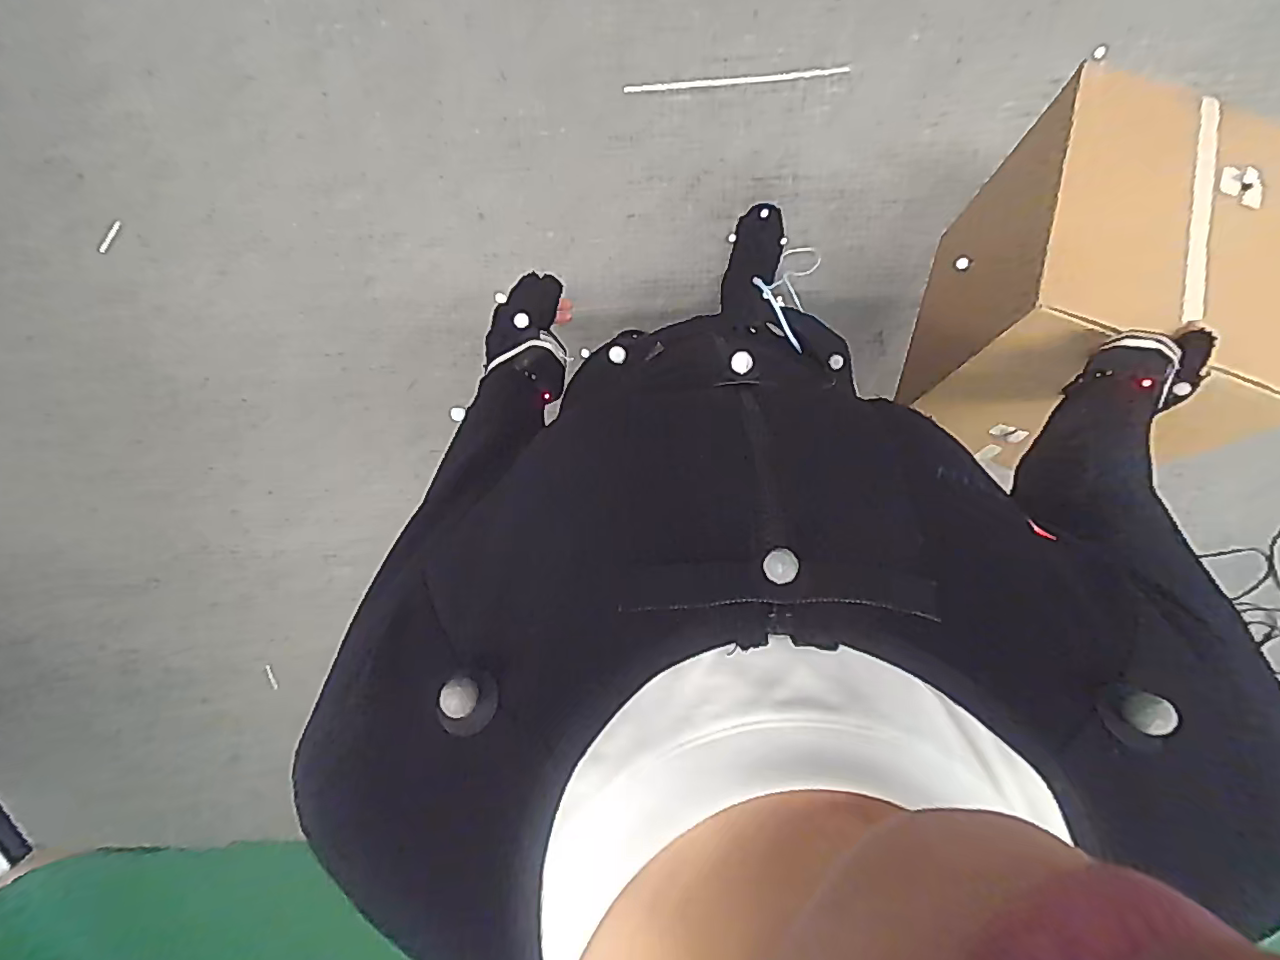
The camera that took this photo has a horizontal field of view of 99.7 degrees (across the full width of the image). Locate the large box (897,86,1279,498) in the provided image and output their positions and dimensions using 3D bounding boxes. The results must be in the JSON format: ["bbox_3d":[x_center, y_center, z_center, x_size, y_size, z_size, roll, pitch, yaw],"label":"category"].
[{"bbox_3d":[0.622,-0.240,0.774,0.320,0.320,0.408,22,71,3],"label":"large box"}]
